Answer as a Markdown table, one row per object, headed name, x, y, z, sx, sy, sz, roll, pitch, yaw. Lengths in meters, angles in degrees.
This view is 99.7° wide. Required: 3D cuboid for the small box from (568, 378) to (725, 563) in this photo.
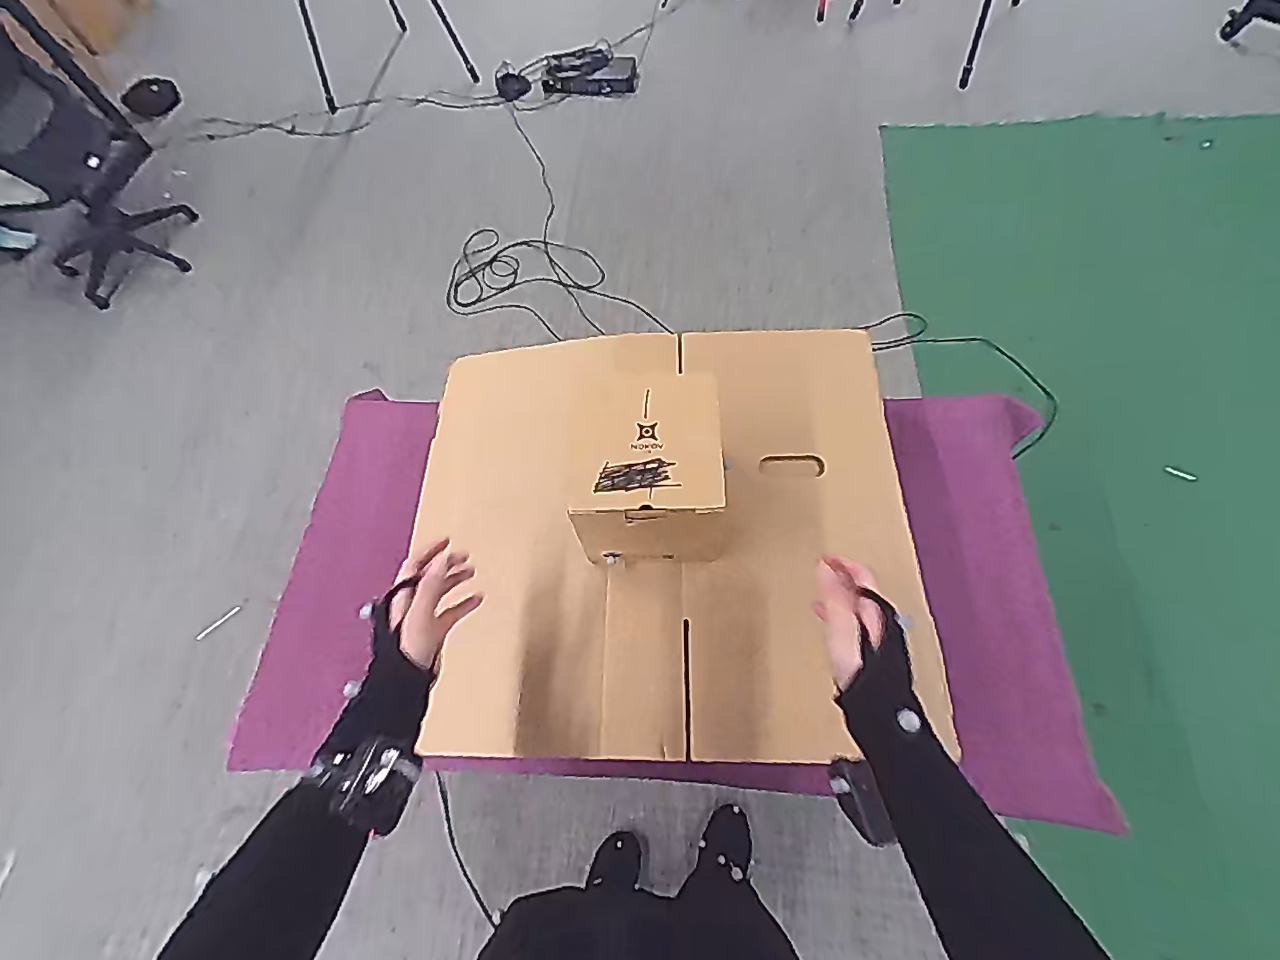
| name | x | y | z | sx | sy | sz | roll | pitch | yaw |
| --- | --- | --- | --- | --- | --- | --- | --- | --- | --- |
| small box | 0.013 | -0.003 | 0.660 | 0.168 | 0.176 | 0.179 | -1 | 63 | 3 |
